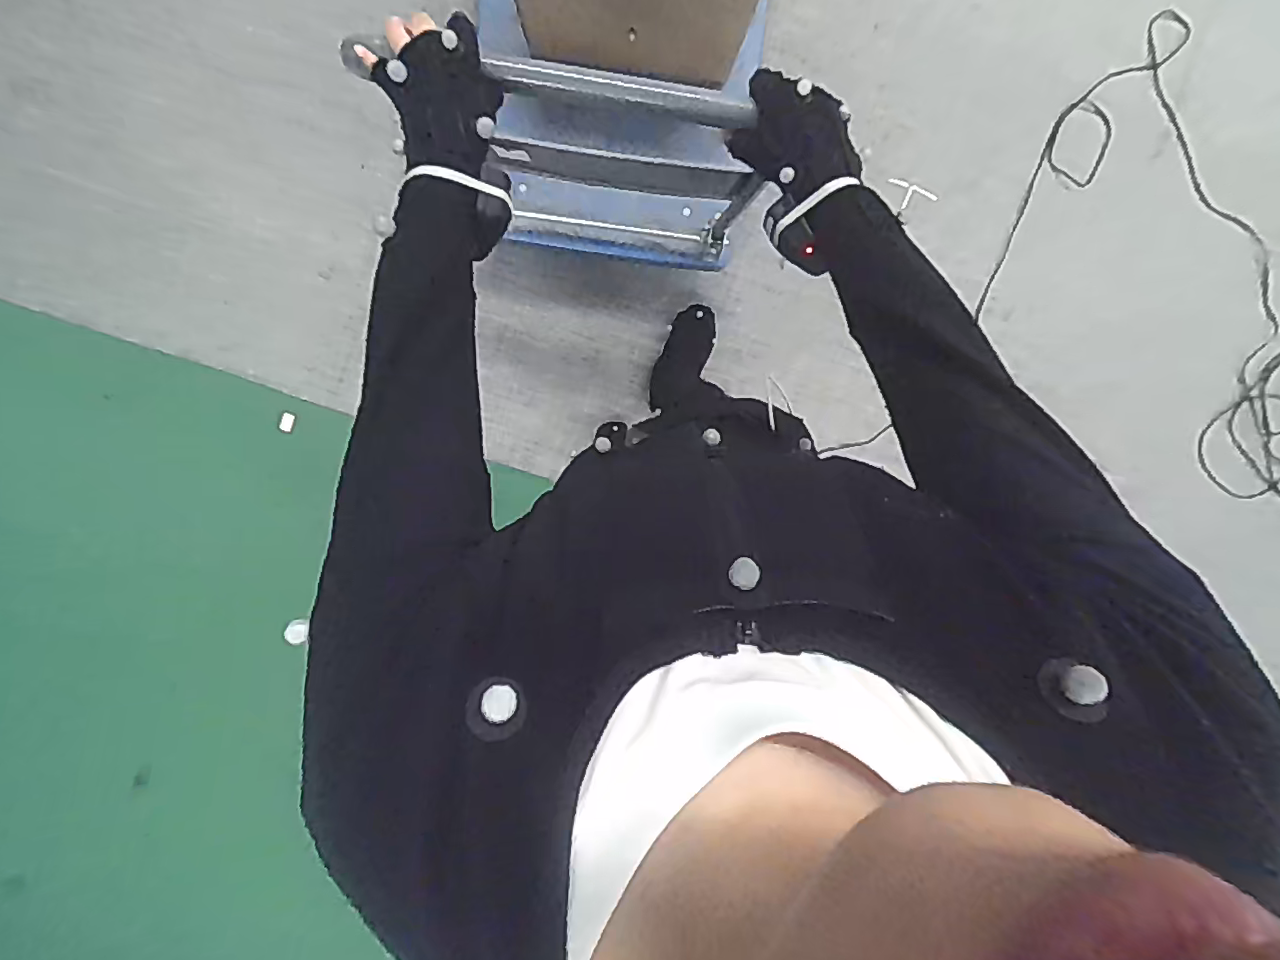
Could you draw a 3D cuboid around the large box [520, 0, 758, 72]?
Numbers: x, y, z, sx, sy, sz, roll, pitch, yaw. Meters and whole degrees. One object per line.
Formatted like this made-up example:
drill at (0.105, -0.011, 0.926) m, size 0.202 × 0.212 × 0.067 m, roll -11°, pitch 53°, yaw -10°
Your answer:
large box at (0.003, -0.961, 0.927) m, size 0.408 × 0.320 × 0.320 m, roll 5°, pitch 103°, yaw -3°
